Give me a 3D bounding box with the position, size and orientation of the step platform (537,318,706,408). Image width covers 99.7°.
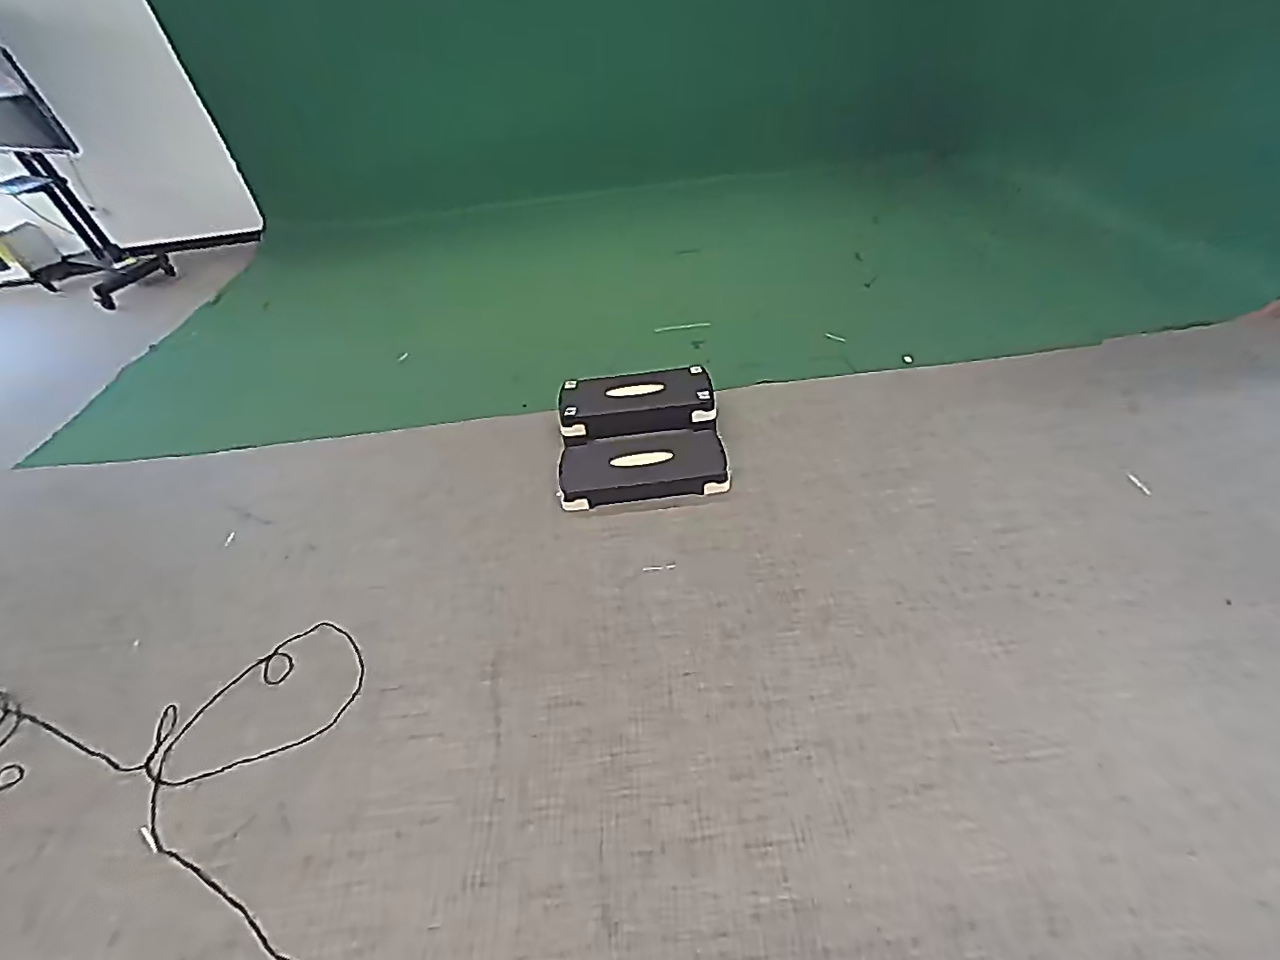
[{"bbox_3d":[-0.071,-0.489,2.256,0.684,0.204,0.286,-7,44,1],"label":"step platform"}]
